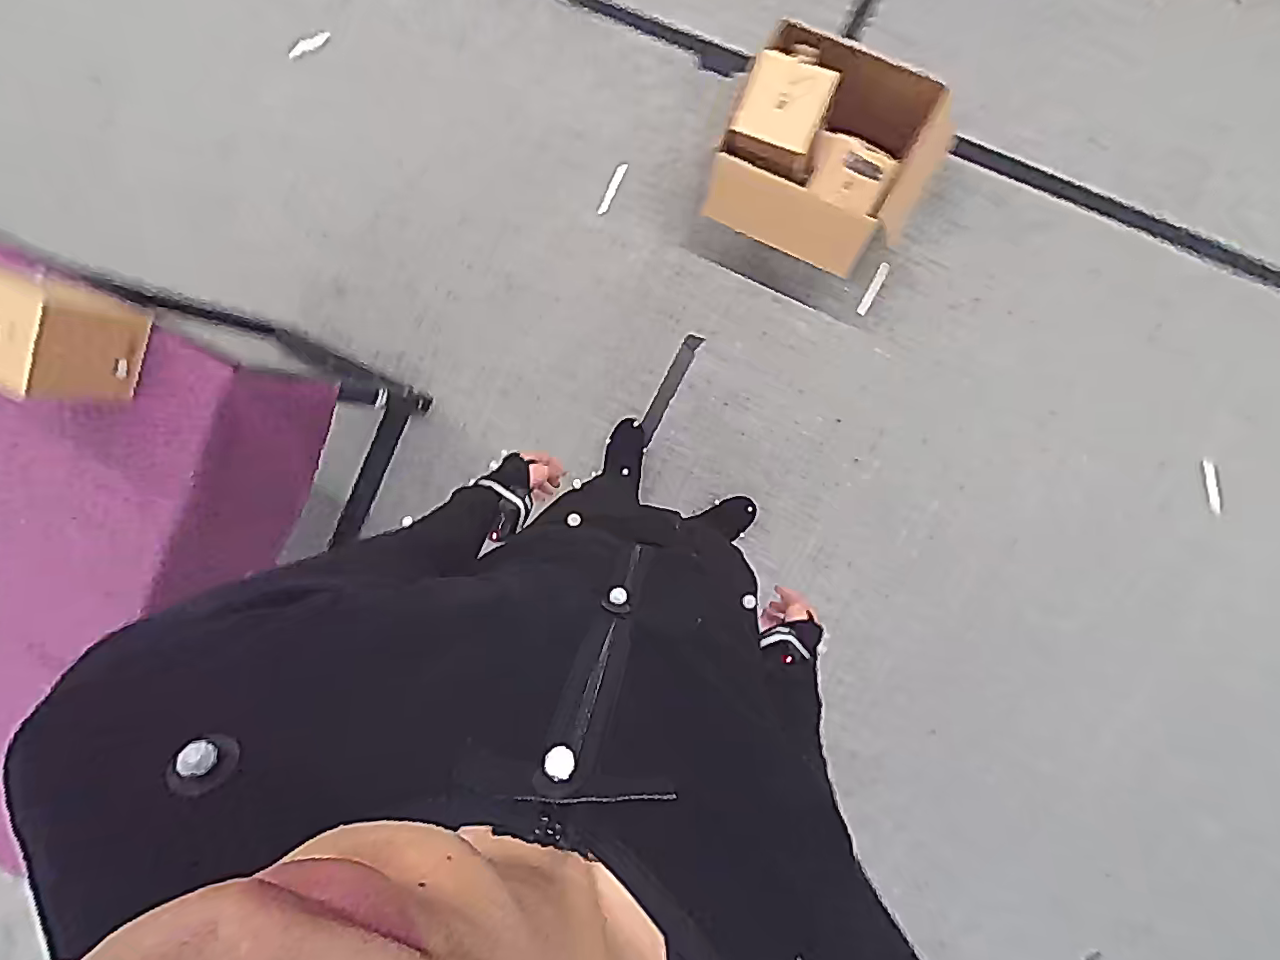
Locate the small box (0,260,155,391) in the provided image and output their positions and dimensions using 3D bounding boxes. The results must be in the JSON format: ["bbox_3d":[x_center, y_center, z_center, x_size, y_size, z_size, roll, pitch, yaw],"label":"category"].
[{"bbox_3d":[-1.009,-0.261,0.935,0.179,0.176,0.168,23,99,6],"label":"small box"}]

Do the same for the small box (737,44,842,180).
[{"bbox_3d":[0.335,-0.832,1.245,0.168,0.176,0.179,26,98,5],"label":"small box"}]
